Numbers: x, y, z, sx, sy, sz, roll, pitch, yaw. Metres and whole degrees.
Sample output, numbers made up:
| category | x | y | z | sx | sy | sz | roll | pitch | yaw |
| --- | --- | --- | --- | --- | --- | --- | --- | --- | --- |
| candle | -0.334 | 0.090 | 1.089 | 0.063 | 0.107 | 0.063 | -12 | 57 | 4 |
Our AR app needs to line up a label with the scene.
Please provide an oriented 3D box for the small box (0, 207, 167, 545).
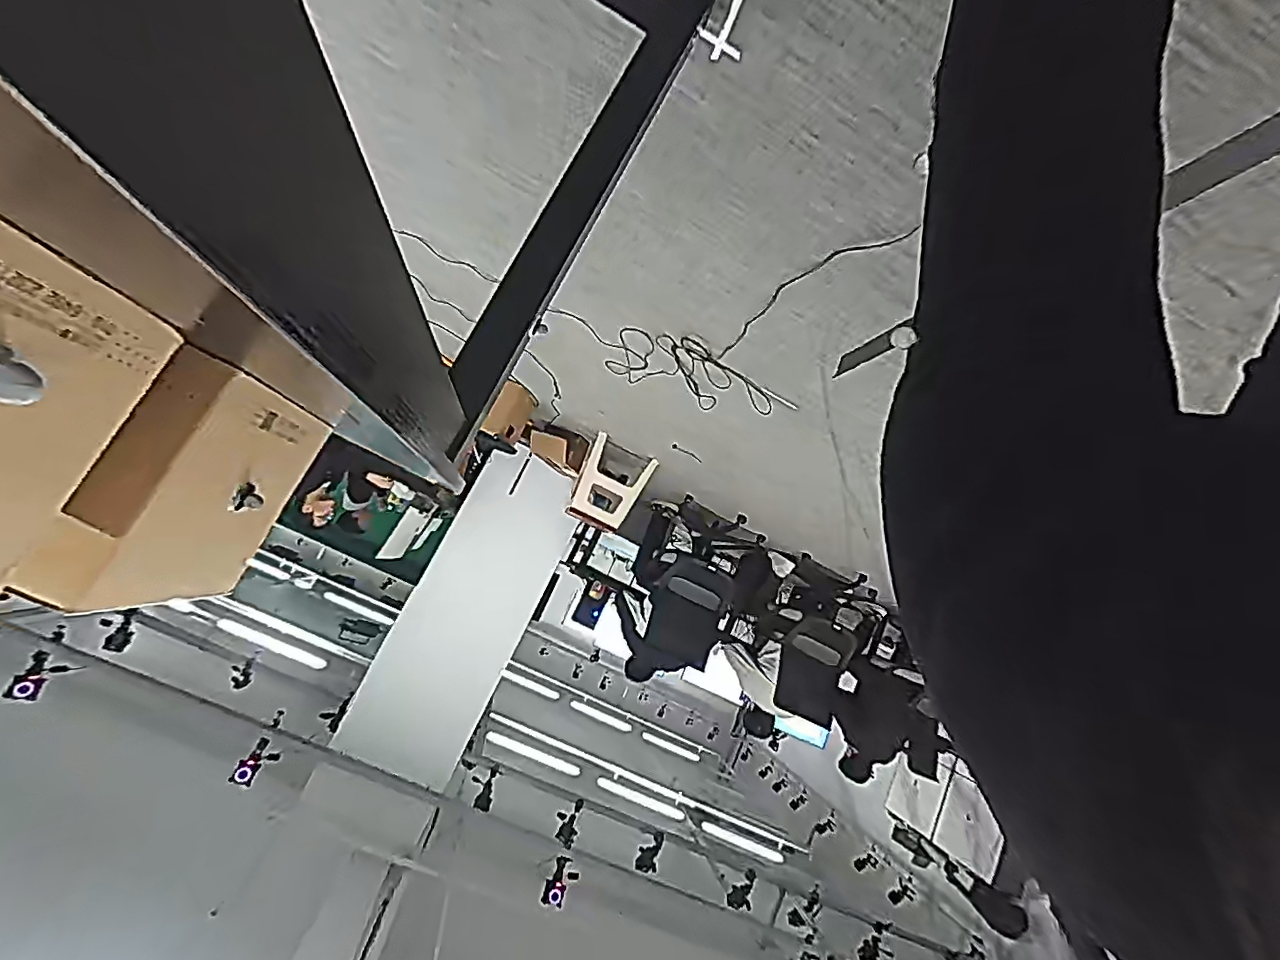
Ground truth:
| category | x | y | z | sx | sy | sz | roll | pitch | yaw |
| --- | --- | --- | --- | --- | --- | --- | --- | --- | --- |
| small box | -0.329 | -0.055 | 0.175 | 0.179 | 0.176 | 0.168 | 27 | 169 | -9 |
